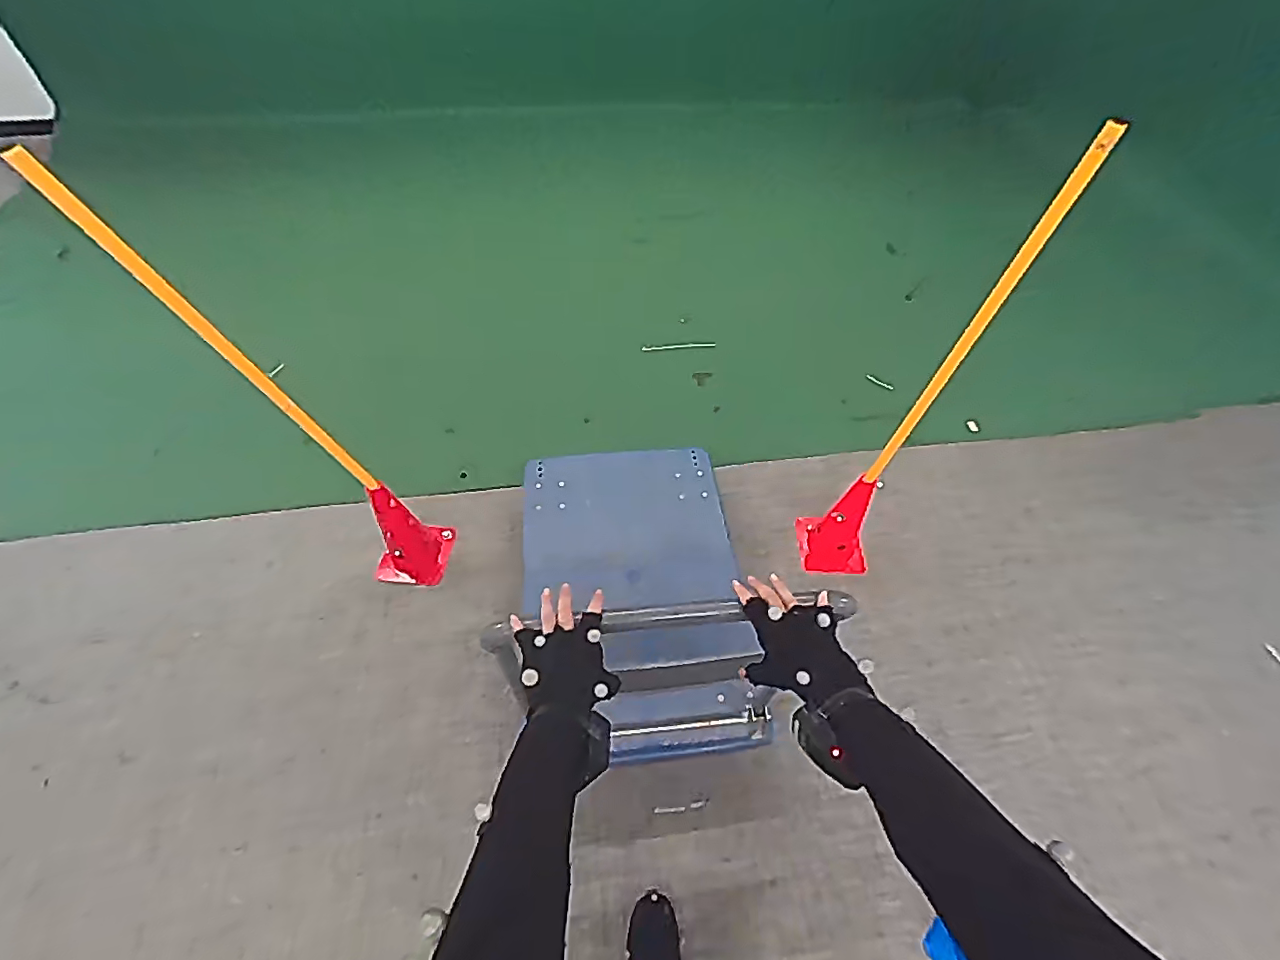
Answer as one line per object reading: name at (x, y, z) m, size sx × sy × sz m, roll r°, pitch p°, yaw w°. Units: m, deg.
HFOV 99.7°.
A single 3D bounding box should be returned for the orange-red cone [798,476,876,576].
orange-red cone at (0.609, 0.110, 1.579) m, size 0.198 × 0.360 × 0.199 m, roll 3°, pitch 53°, yaw 1°
